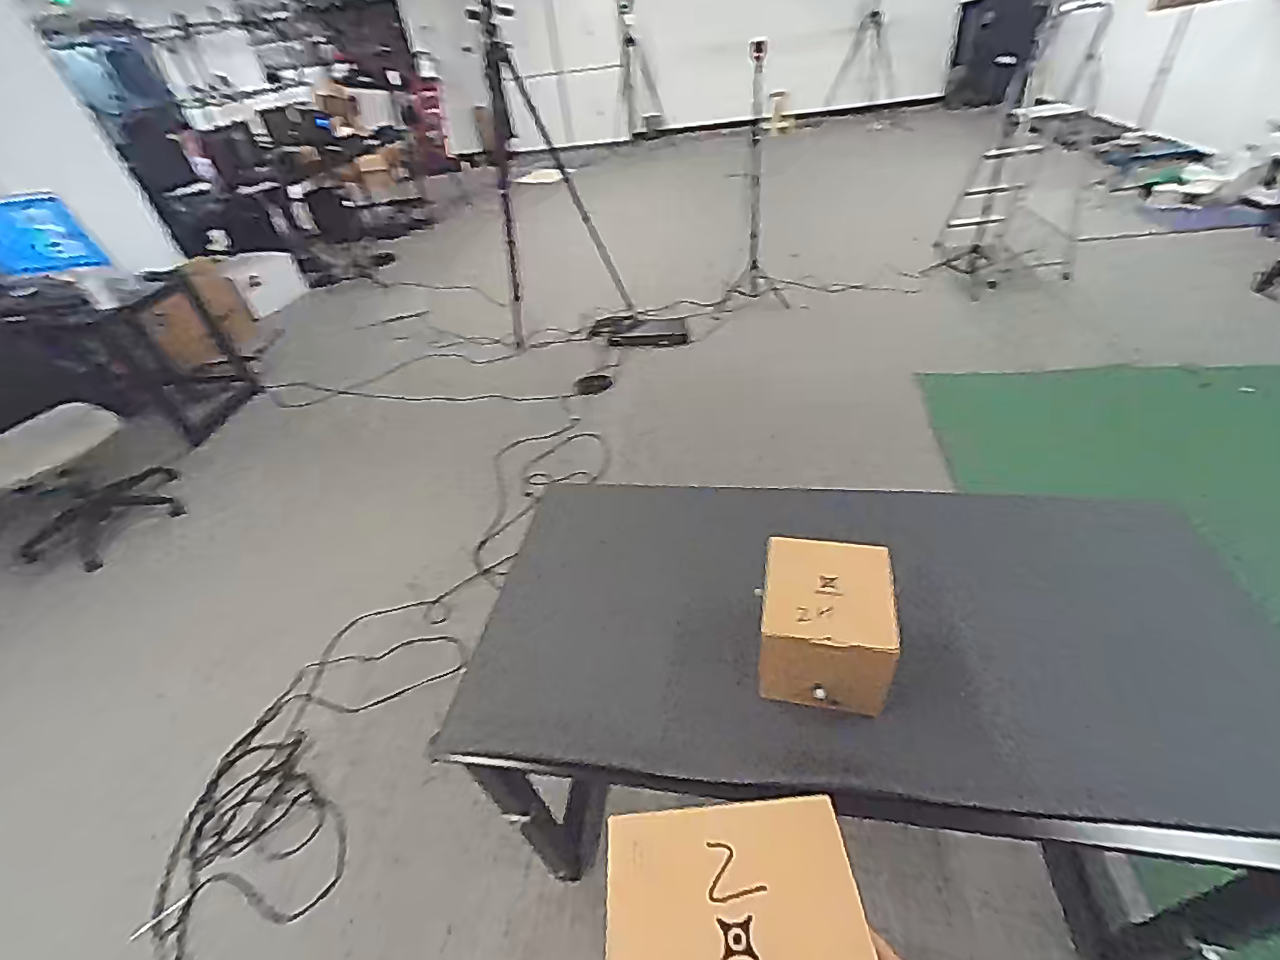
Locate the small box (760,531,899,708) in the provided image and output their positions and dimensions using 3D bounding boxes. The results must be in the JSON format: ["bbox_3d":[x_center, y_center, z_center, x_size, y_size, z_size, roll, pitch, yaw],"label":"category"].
[{"bbox_3d":[0.266,0.200,0.789,0.168,0.176,0.179,3,42,15],"label":"small box"}]
